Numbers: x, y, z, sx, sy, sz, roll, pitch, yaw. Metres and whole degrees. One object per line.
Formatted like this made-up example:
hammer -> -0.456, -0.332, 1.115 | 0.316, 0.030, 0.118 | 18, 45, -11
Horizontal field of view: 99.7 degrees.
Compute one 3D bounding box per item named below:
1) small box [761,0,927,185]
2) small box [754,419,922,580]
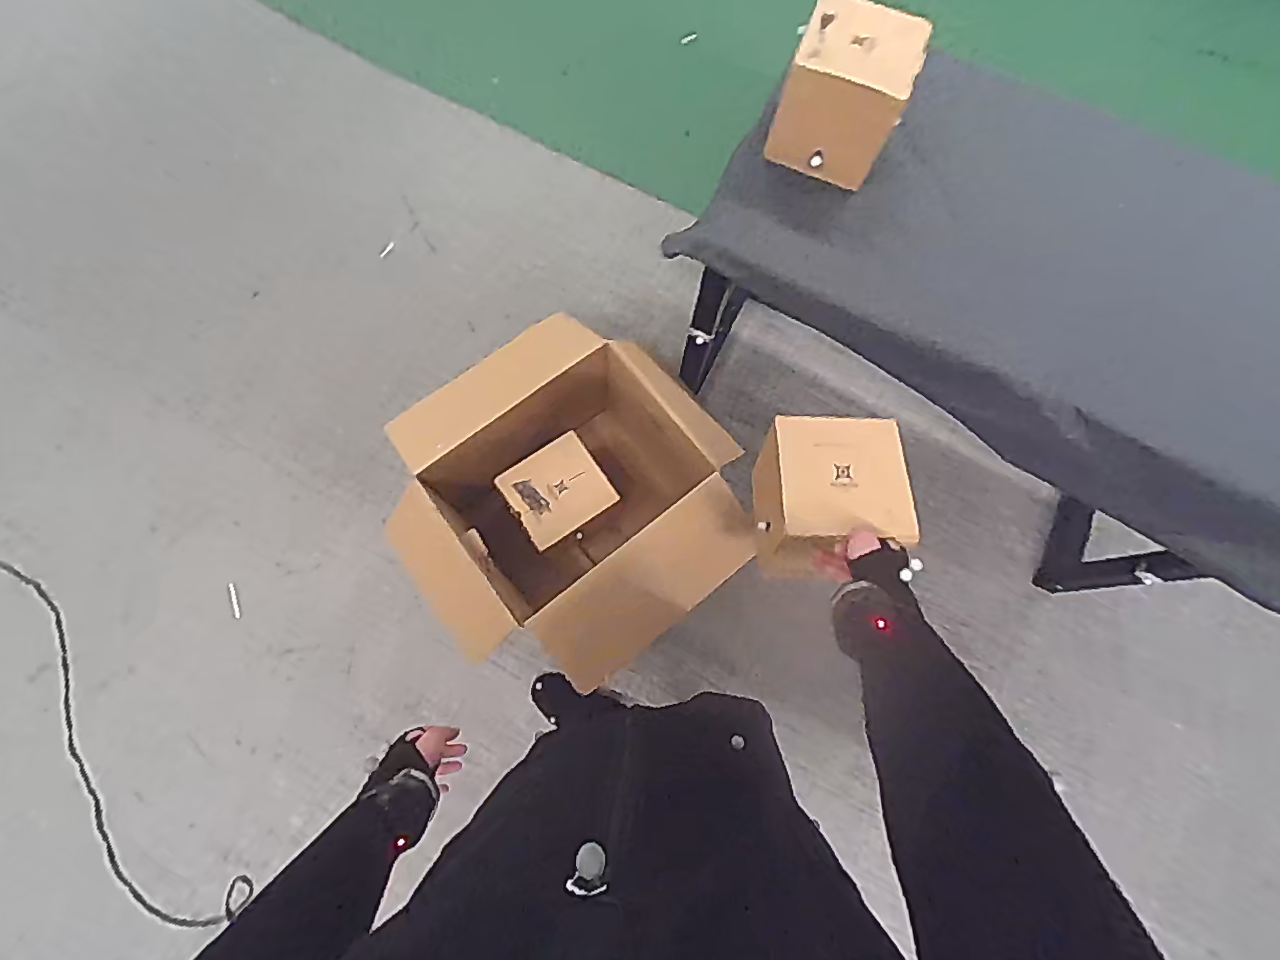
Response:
small box -> 0.320, -0.619, 0.876 | 0.179, 0.176, 0.168 | 22, 74, 2
small box -> 0.262, 0.034, 0.759 | 0.168, 0.176, 0.179 | 2, 61, 0
